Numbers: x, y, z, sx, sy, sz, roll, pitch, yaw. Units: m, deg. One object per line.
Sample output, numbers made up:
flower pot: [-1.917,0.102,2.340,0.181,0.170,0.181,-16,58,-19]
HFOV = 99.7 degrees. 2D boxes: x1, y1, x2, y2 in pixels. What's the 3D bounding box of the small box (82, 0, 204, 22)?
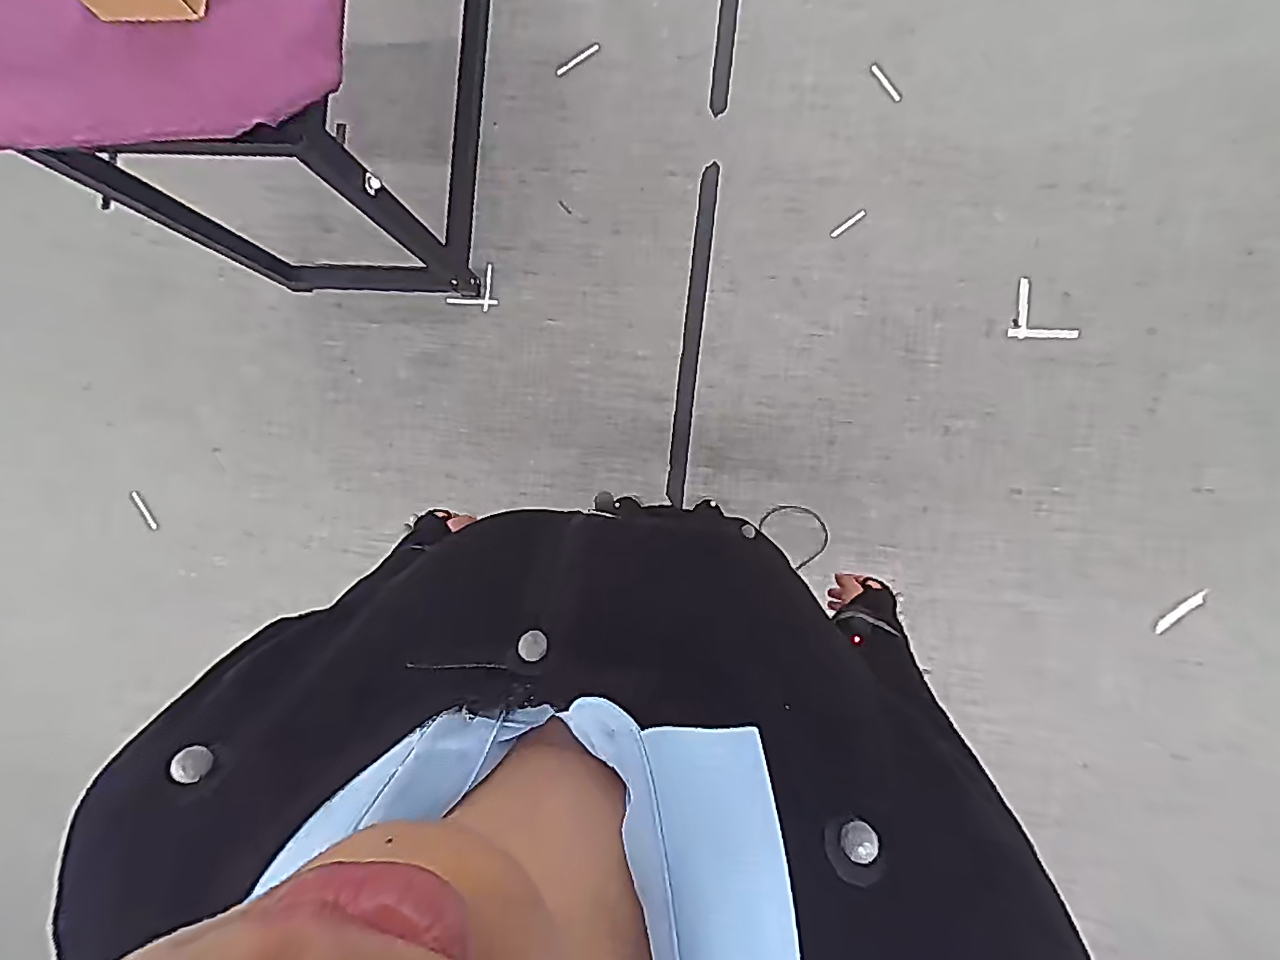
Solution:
small box: [-0.778,-0.811,0.783,0.179,0.176,0.168,3,88,4]
